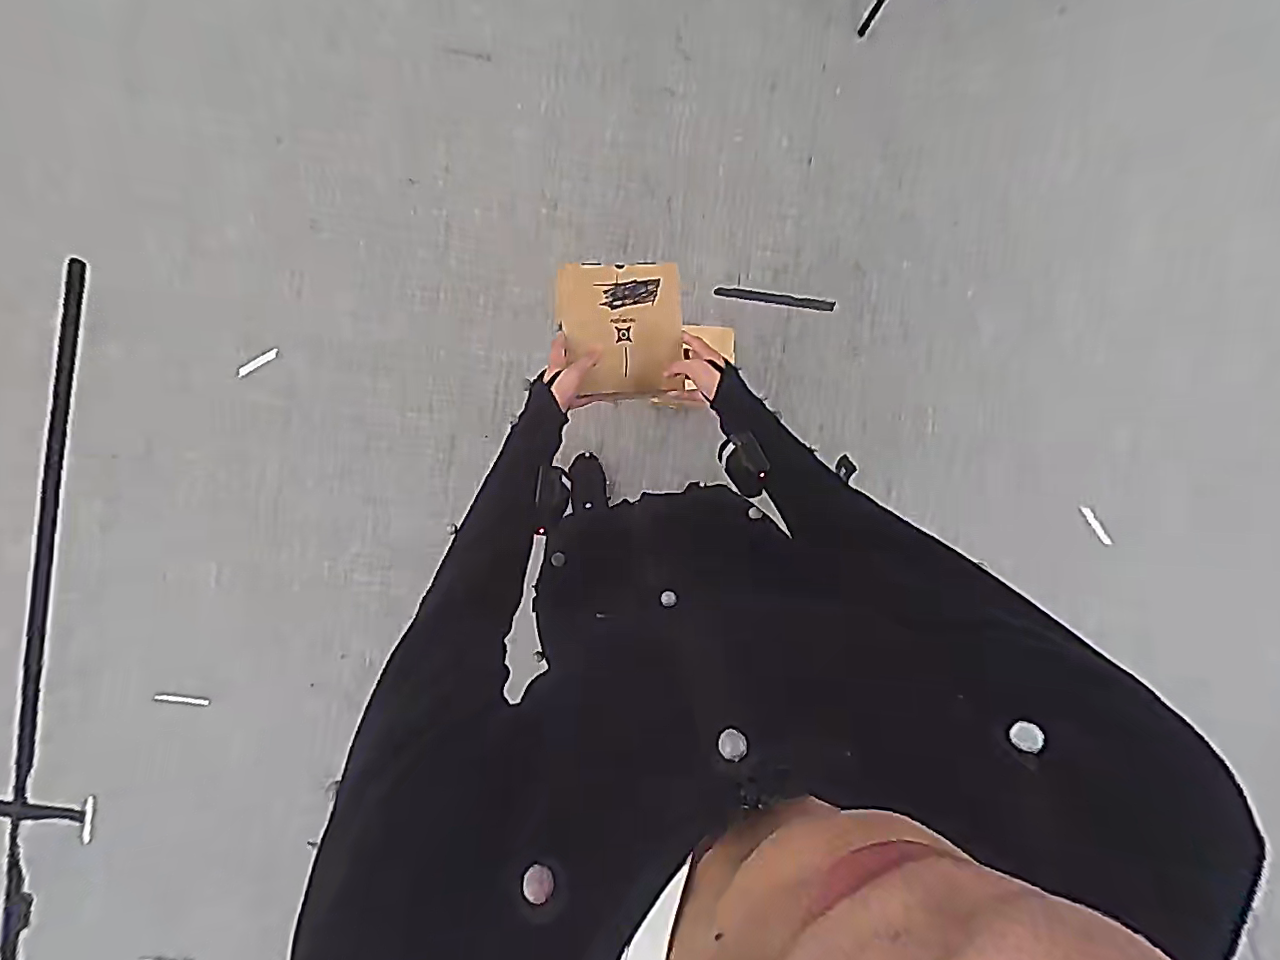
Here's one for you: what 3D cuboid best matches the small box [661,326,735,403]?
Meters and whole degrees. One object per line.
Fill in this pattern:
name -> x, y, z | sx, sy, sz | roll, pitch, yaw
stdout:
small box -> 0.137, -0.291, 1.388 | 0.179, 0.176, 0.168 | 3, 92, -2

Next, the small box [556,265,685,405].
small box -> -0.036, -0.209, 0.813 | 0.168, 0.176, 0.179 | -5, 96, -10

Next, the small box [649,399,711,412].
small box -> 0.117, -0.295, 1.551 | 0.168, 0.176, 0.179 | 4, 92, -2
